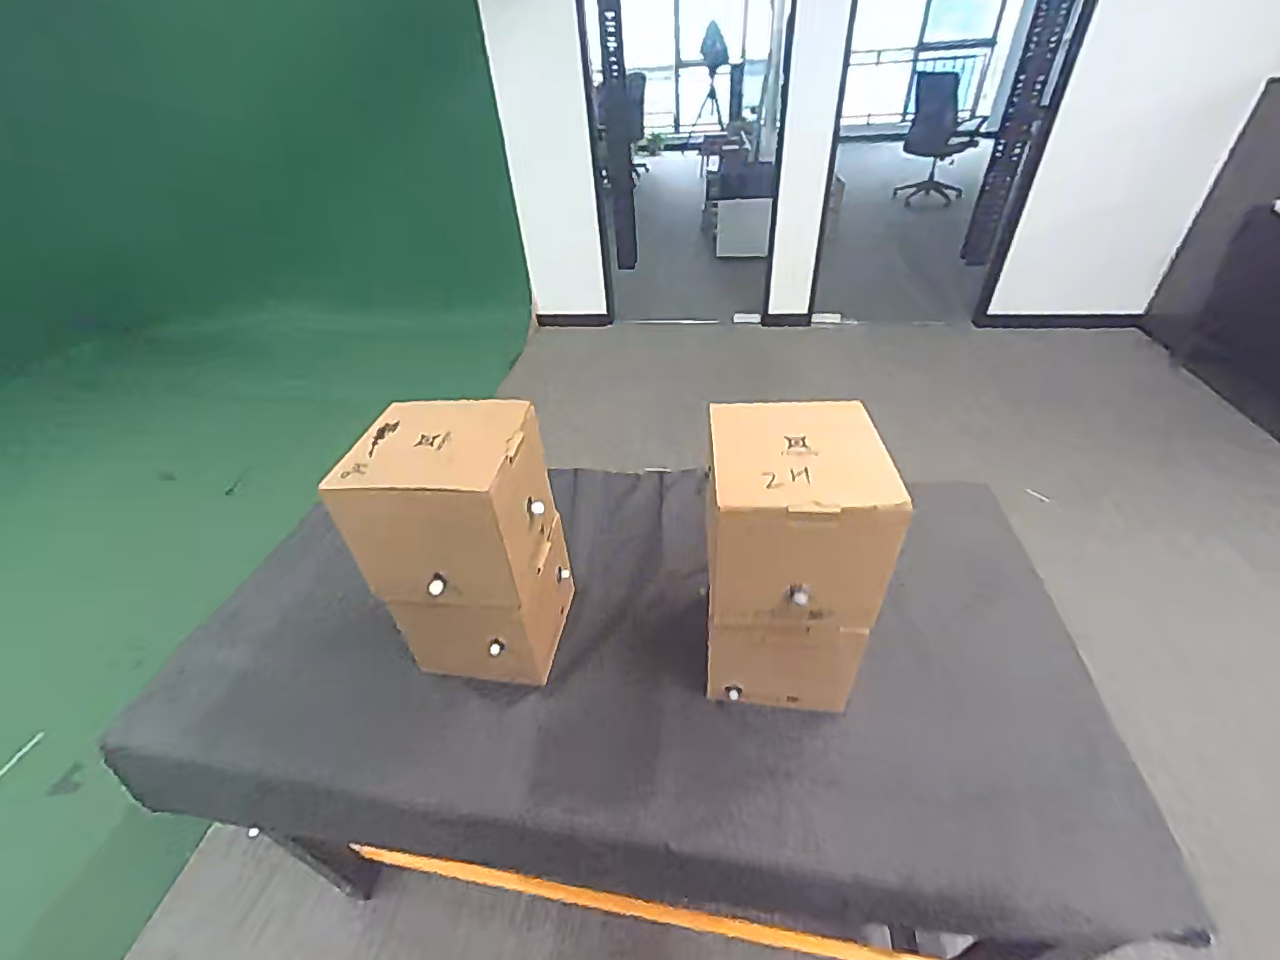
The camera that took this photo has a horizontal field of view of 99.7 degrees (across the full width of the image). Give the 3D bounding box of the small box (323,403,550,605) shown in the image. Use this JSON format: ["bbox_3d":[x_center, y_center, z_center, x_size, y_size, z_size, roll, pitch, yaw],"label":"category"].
[{"bbox_3d":[-0.210,0.027,0.623,0.179,0.176,0.168,2,37,6],"label":"small box"}]

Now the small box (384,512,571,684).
[{"bbox_3d":[-0.201,0.153,0.728,0.179,0.176,0.168,2,37,9],"label":"small box"}]

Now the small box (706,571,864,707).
[{"bbox_3d":[0.171,0.161,0.685,0.168,0.176,0.179,3,38,8],"label":"small box"}]

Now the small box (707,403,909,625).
[{"bbox_3d":[0.158,0.033,0.582,0.168,0.176,0.179,-1,38,5],"label":"small box"}]
